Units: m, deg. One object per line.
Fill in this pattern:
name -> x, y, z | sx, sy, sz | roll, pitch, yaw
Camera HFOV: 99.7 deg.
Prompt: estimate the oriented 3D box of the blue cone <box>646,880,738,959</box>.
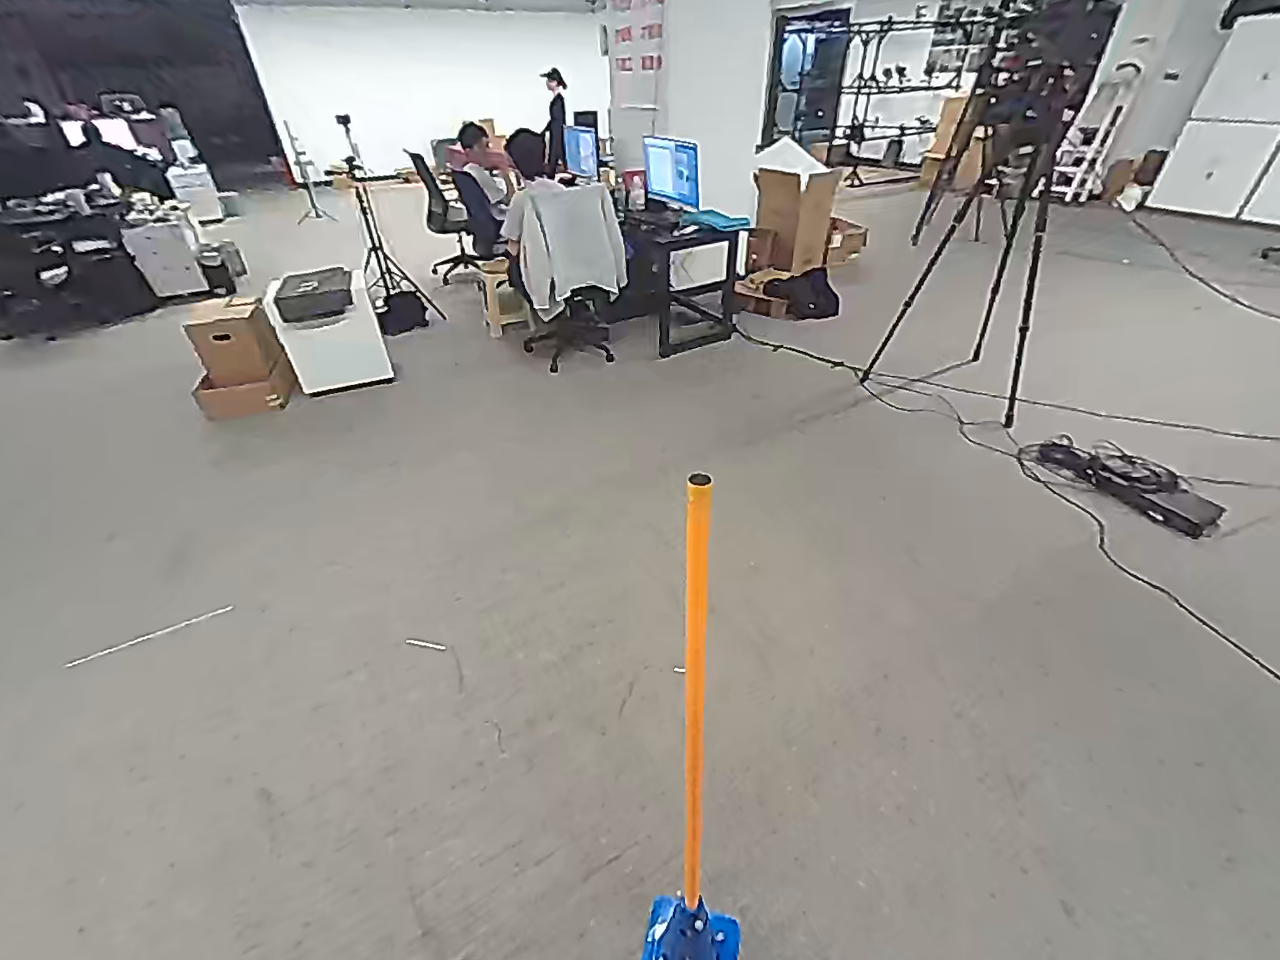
blue cone -> 0.104, 0.874, 1.055 | 0.192, 0.380, 0.193 | 7, 36, 13
